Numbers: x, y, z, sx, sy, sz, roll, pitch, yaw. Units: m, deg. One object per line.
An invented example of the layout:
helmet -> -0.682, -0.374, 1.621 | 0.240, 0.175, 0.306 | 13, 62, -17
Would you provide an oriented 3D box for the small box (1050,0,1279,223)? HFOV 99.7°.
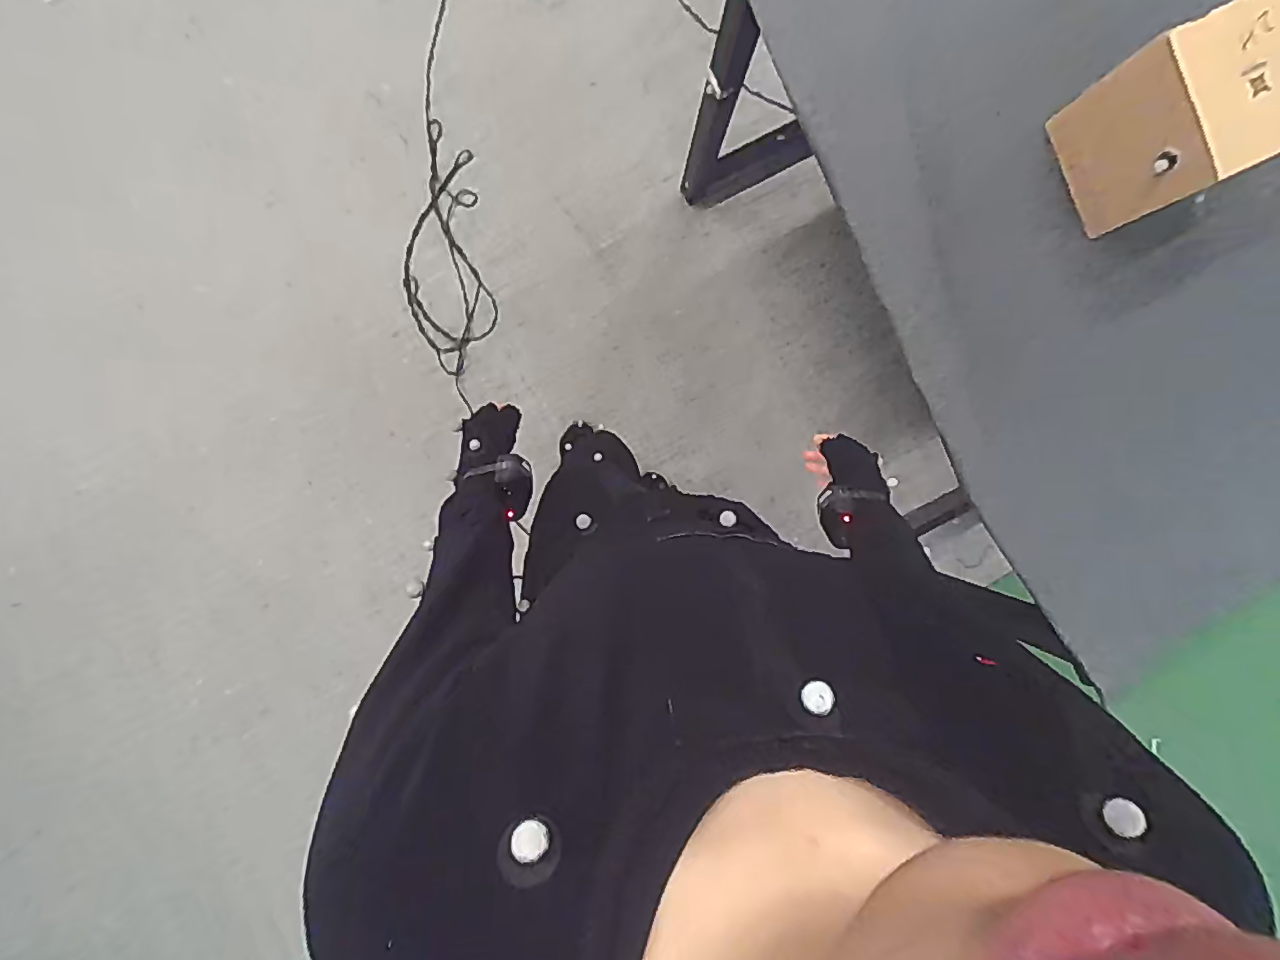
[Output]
small box -> 0.673, -0.450, 0.674 | 0.168, 0.176, 0.179 | -25, 94, -2
